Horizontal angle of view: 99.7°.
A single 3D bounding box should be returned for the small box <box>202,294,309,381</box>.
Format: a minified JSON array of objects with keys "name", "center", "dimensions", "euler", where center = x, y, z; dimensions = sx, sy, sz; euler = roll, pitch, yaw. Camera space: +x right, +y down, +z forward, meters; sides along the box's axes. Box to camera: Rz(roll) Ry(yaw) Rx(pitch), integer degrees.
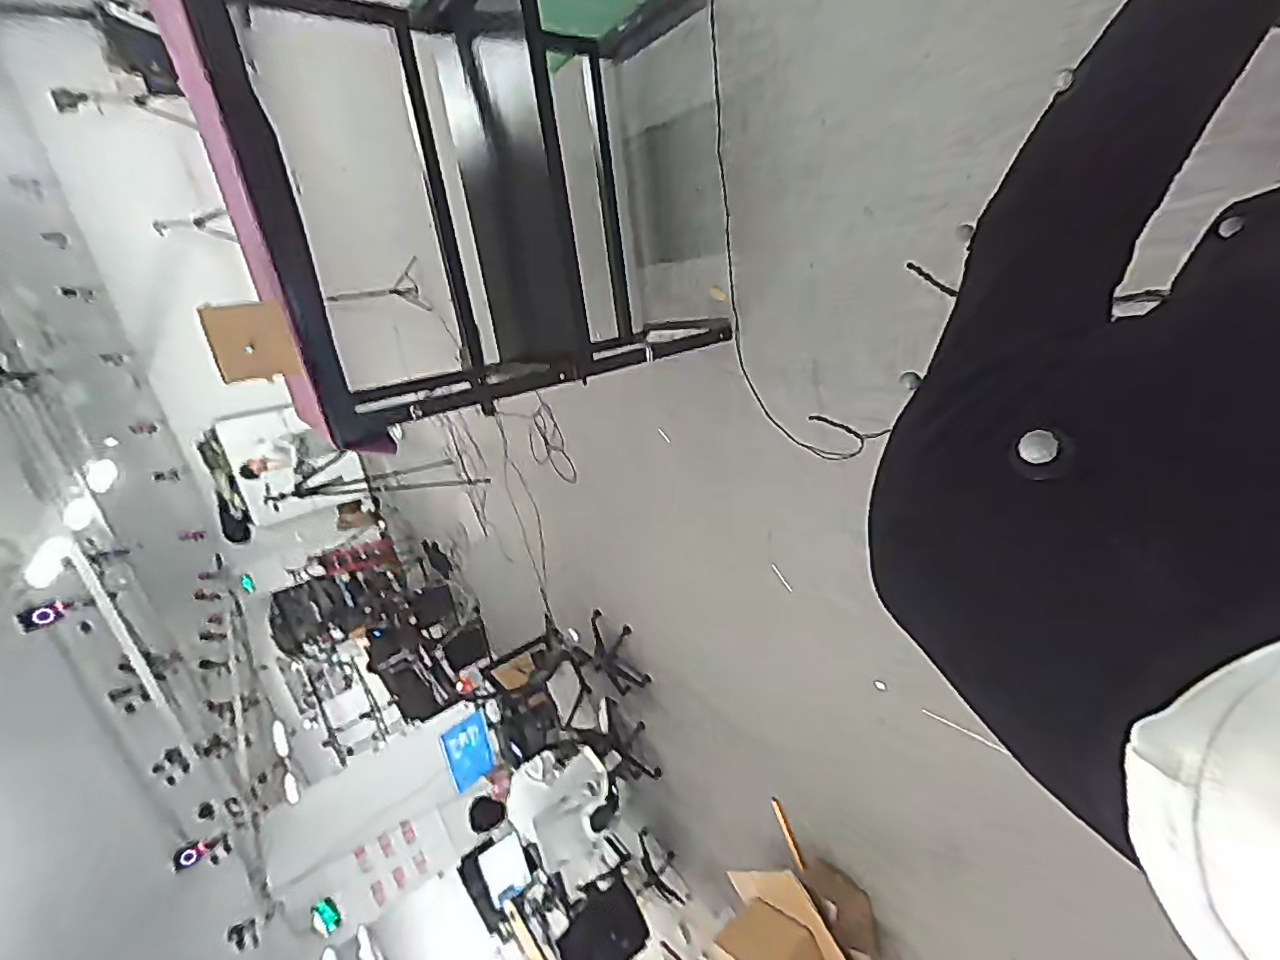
[{"name":"small box","center":[-0.930,-0.348,1.318],"dimensions":[0.168,0.176,0.179],"euler":[16,120,51]}]
